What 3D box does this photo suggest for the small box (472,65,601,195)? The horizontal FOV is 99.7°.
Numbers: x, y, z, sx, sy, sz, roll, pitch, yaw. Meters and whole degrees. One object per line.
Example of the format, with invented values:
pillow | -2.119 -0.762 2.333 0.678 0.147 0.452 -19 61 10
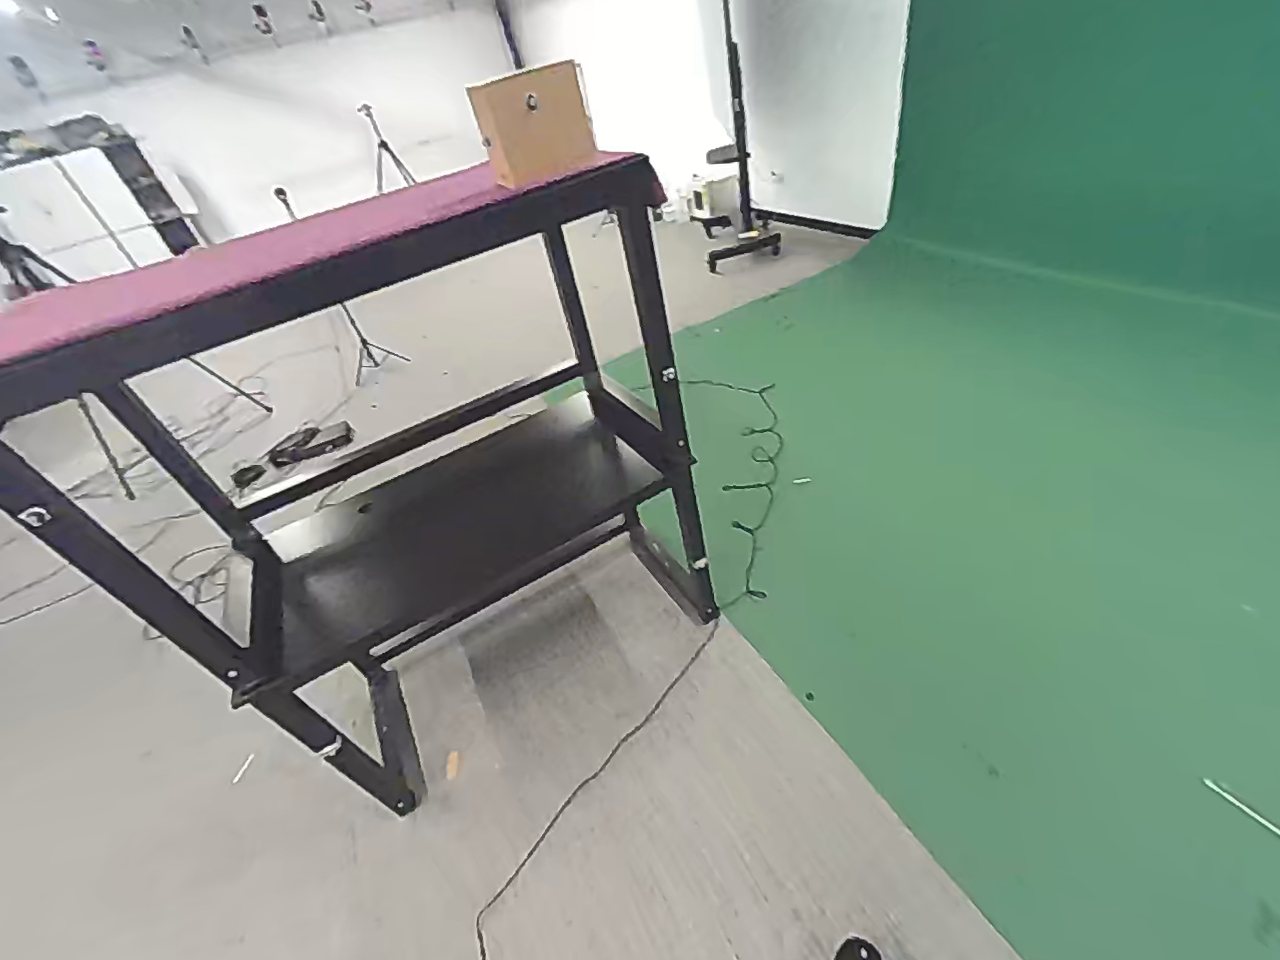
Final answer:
small box | -0.195 -0.666 1.037 0.179 0.176 0.168 -25 40 -11
